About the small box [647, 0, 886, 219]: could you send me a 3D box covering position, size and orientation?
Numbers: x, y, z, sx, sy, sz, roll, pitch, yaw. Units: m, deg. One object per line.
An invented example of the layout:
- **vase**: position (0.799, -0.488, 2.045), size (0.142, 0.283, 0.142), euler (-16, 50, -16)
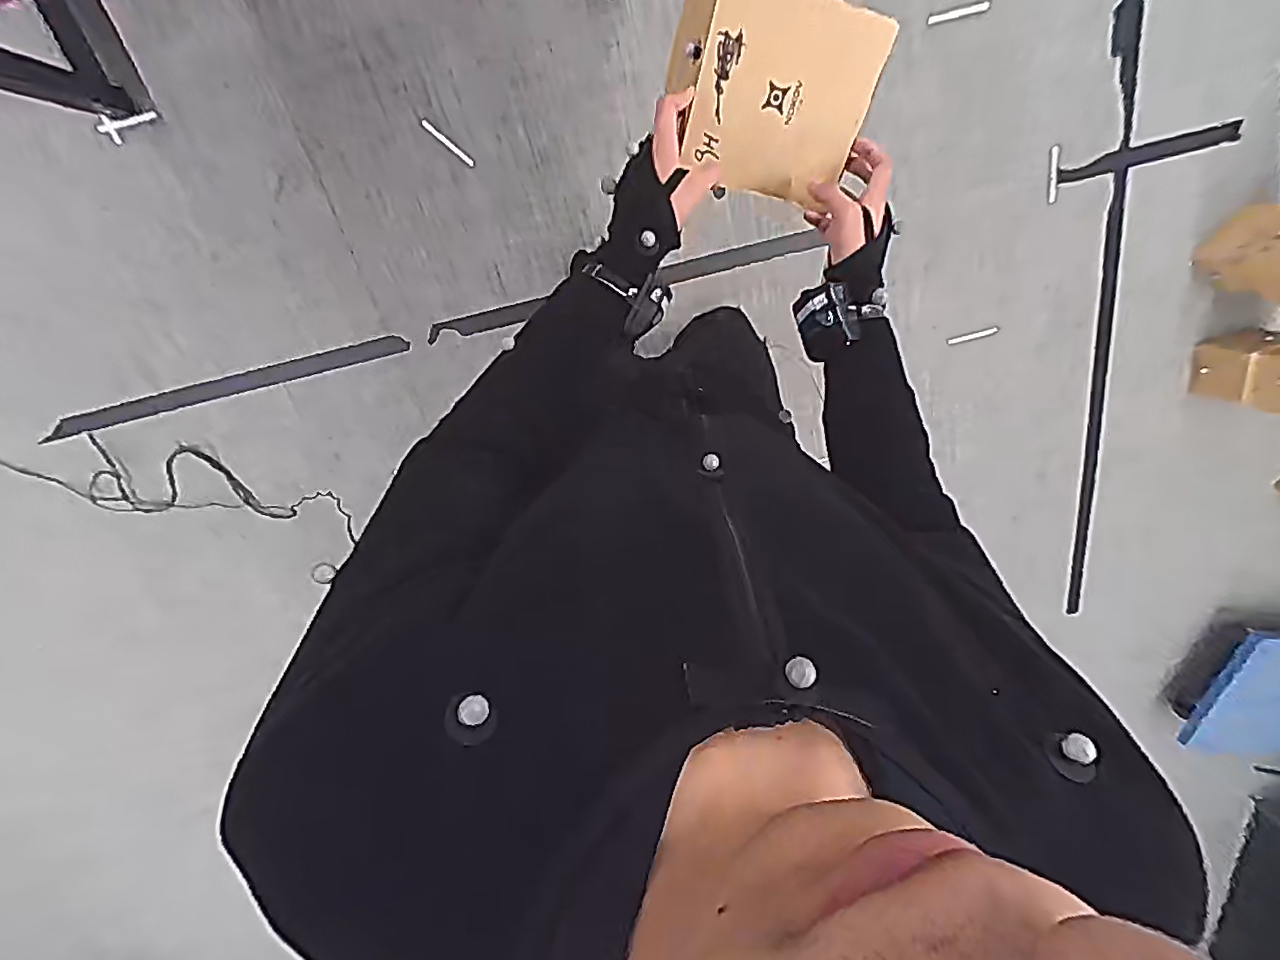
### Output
- **small box**: position (0.119, -0.408, 0.593), size (0.179, 0.176, 0.168), euler (7, 124, -15)
